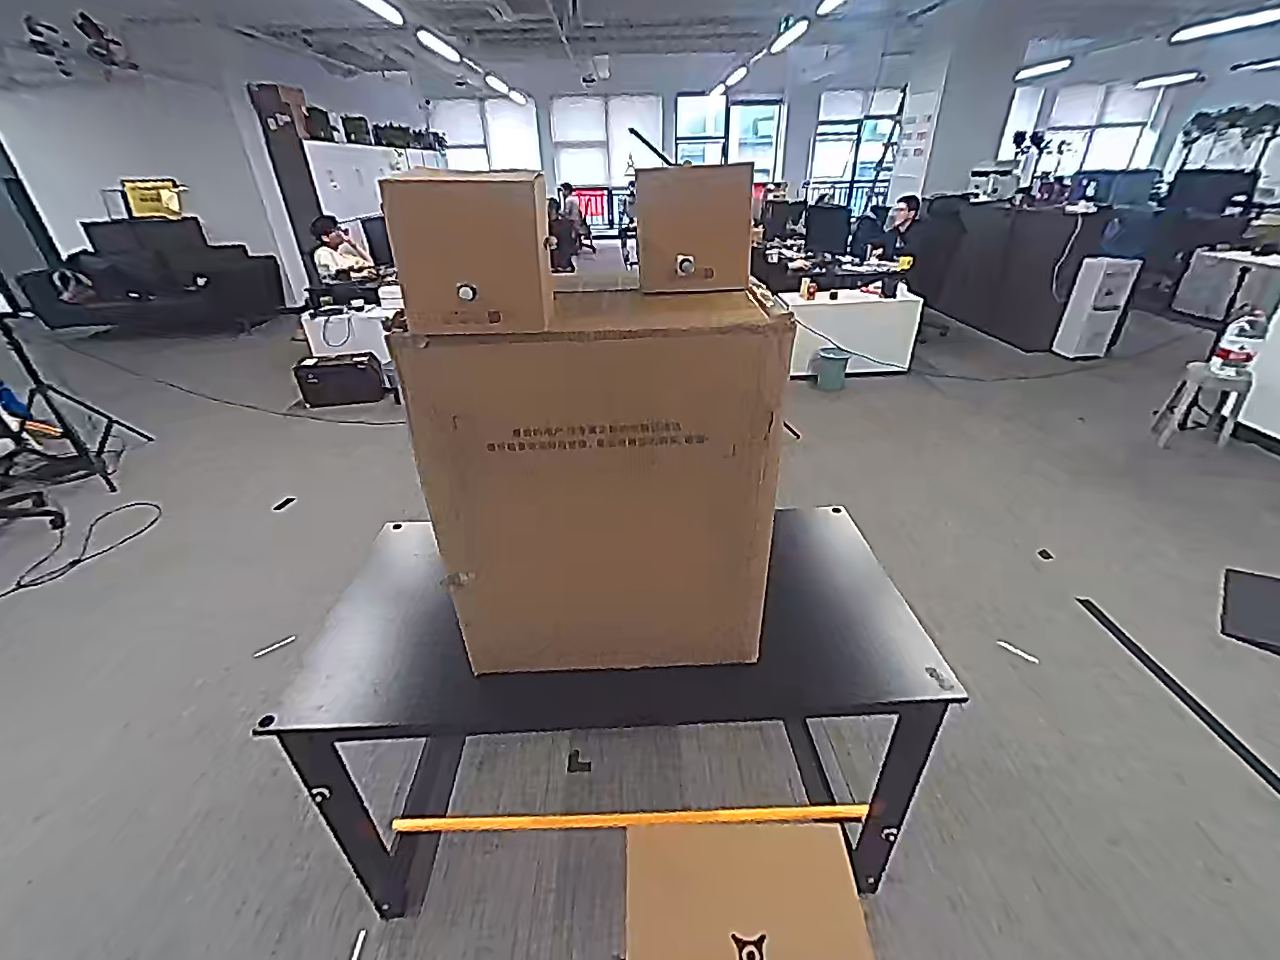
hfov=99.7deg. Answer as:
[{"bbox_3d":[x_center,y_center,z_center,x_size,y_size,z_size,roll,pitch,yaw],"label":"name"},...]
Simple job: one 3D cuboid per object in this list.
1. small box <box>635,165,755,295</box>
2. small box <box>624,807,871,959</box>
[{"bbox_3d":[0.080,-0.389,0.846,0.168,0.176,0.179,-3,29,2],"label":"small box"},{"bbox_3d":[0.071,0.376,0.408,0.168,0.176,0.179,-1,39,1],"label":"small box"}]
